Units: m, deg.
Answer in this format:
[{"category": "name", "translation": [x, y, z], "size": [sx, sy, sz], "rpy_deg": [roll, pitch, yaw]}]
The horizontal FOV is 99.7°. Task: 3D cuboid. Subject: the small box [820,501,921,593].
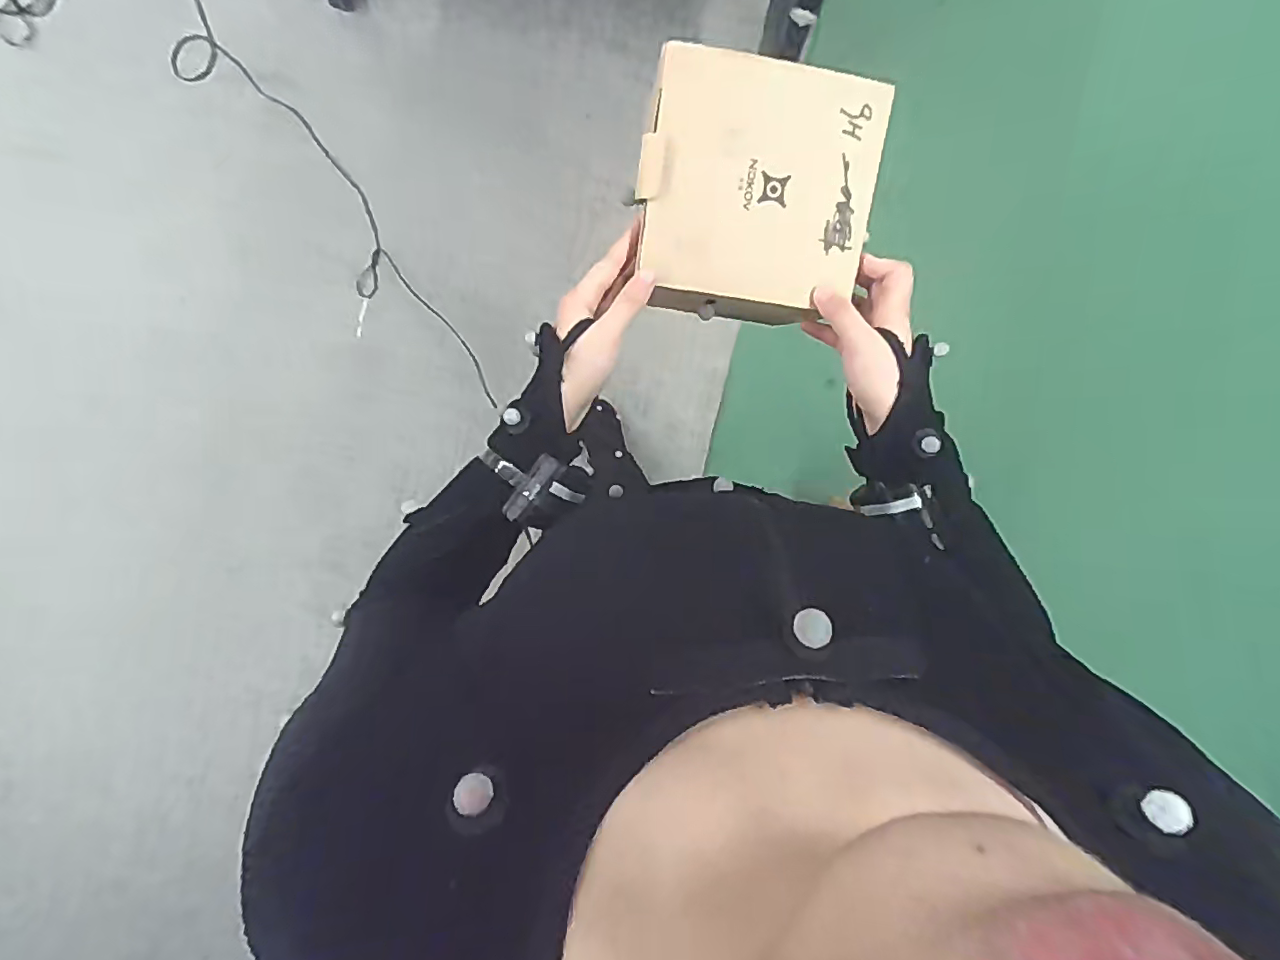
[{"category": "small box", "translation": [0.583, 0.166, 1.396], "size": [0.168, 0.176, 0.179], "rpy_deg": [17, 94, 0]}]
